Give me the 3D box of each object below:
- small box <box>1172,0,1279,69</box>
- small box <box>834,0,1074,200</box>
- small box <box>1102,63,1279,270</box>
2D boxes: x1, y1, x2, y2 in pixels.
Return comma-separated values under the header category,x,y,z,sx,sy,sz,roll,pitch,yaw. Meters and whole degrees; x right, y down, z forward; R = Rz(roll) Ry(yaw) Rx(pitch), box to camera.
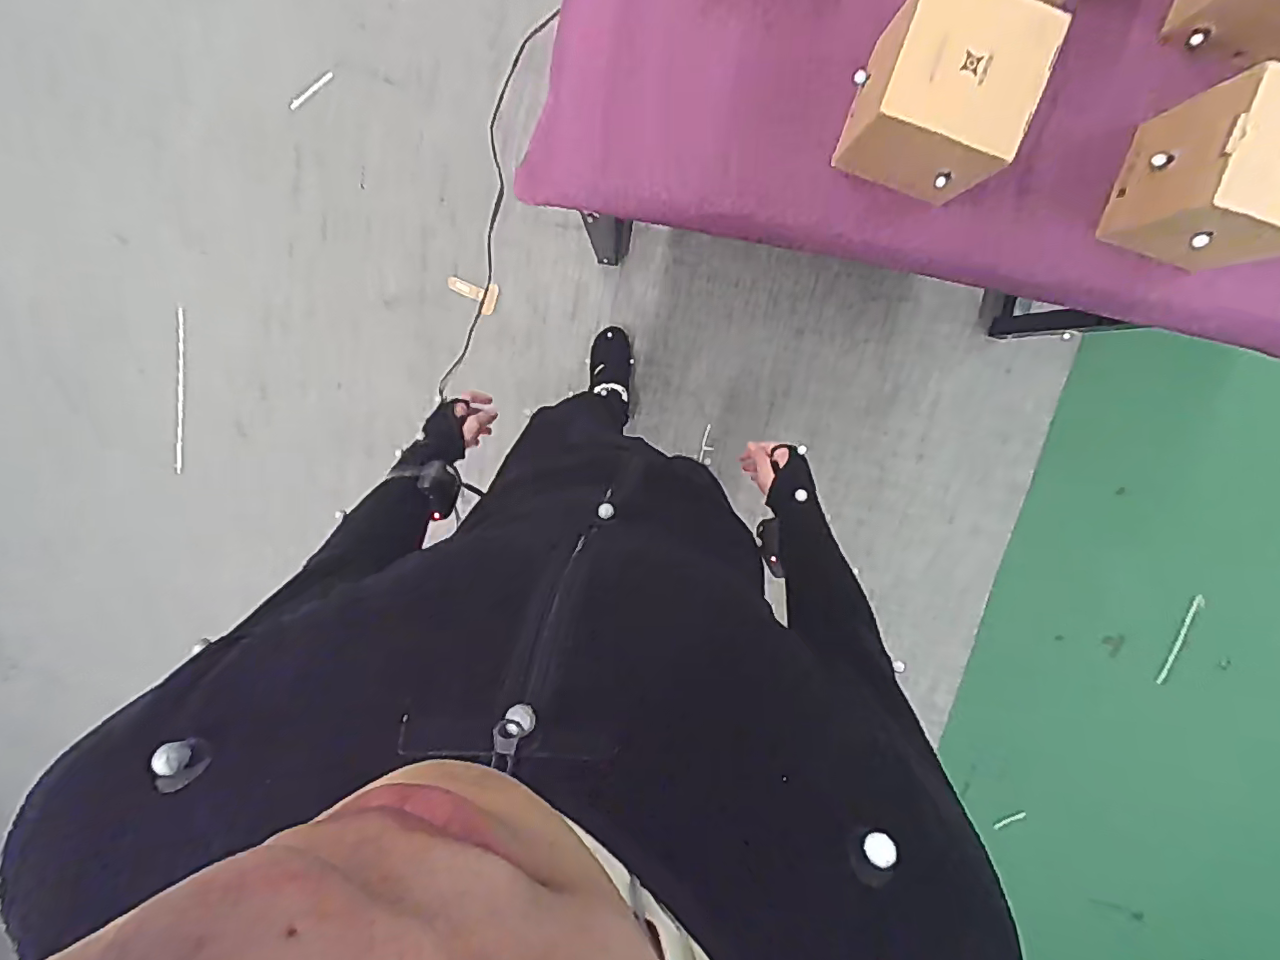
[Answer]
category,x,y,z,sx,sy,sz,roll,pitch,yaw
small box,0.831,-0.659,0.666,0.168,0.176,0.179,16,100,-4
small box,0.385,-0.489,0.698,0.179,0.176,0.168,19,100,-3
small box,0.784,-0.396,0.719,0.179,0.176,0.168,16,100,-3
